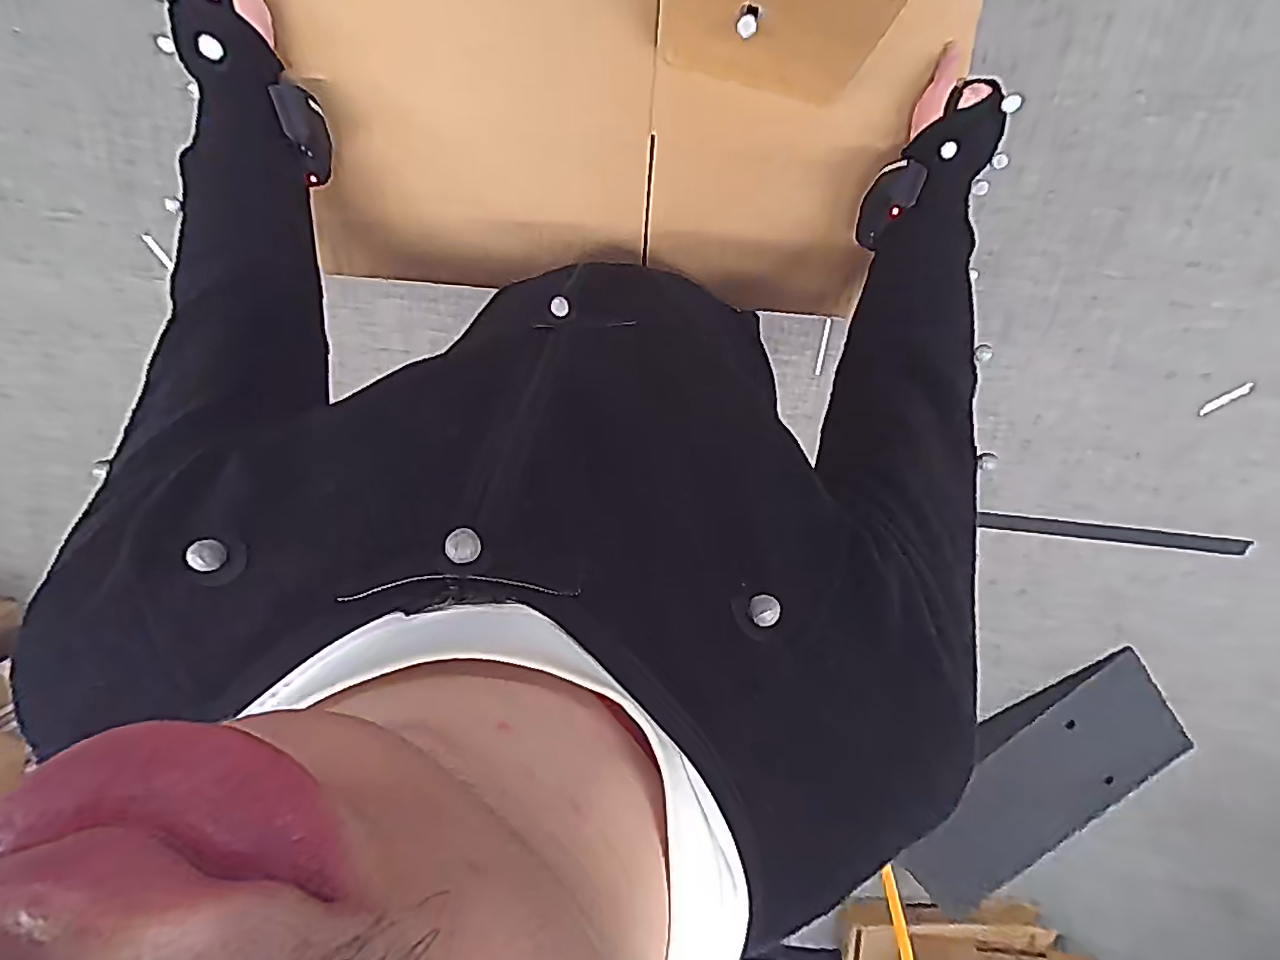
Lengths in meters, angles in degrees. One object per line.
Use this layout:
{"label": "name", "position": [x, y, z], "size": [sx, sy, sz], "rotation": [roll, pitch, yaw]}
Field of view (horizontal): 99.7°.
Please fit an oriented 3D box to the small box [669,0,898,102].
{"label": "small box", "position": [0.125, -0.446, 0.436], "size": [0.179, 0.176, 0.168], "rotation": [15, 103, -1]}
